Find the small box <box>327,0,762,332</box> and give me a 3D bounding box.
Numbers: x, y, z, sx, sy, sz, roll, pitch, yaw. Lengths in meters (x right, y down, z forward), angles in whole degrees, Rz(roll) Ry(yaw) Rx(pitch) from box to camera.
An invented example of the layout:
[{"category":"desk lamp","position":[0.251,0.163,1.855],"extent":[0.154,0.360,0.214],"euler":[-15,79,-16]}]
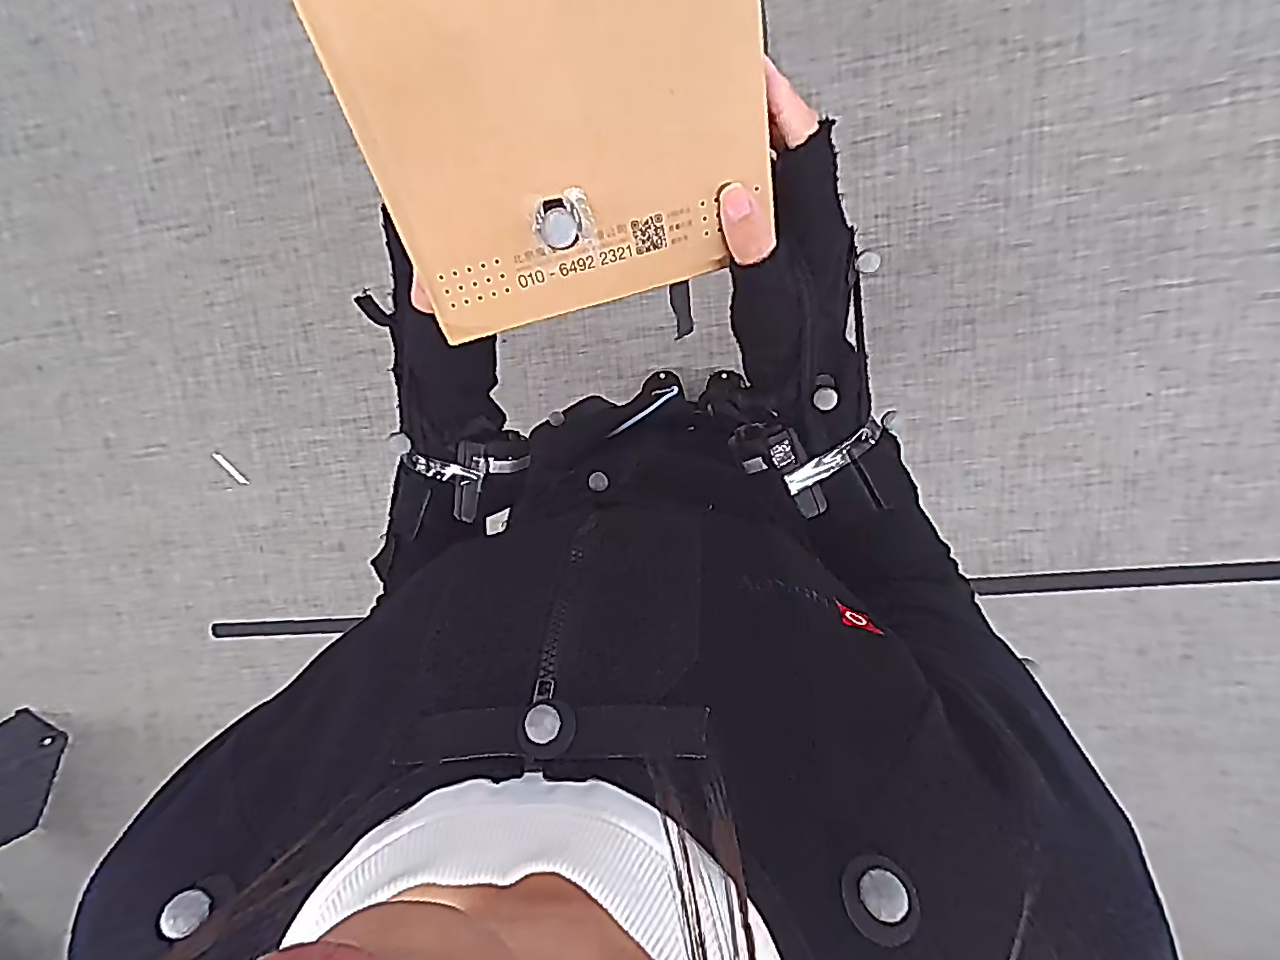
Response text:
[{"category":"small box","position":[-0.044,-0.201,0.296],"extent":[0.168,0.179,0.176],"euler":[-17,127,-2]}]
